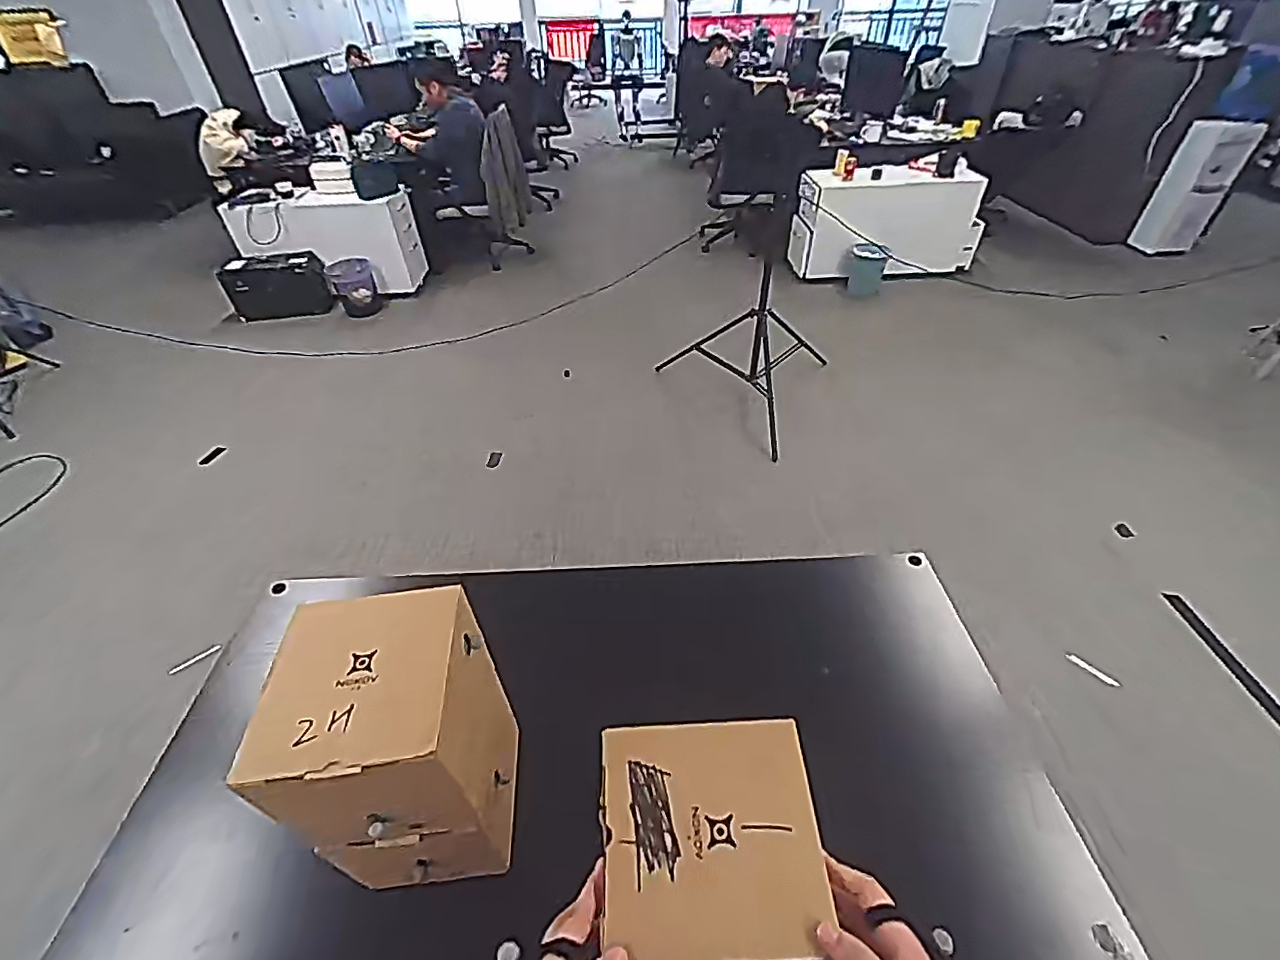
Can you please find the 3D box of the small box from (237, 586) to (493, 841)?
[{"bbox_3d":[-0.253,0.237,0.555,0.168,0.176,0.179,-7,42,-4],"label":"small box"}]

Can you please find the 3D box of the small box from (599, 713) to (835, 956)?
[{"bbox_3d":[0.058,0.332,0.504,0.179,0.176,0.168,-3,49,0],"label":"small box"}]

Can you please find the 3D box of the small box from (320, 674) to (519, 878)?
[{"bbox_3d":[-0.248,0.364,0.663,0.168,0.176,0.179,-5,42,-3],"label":"small box"}]
